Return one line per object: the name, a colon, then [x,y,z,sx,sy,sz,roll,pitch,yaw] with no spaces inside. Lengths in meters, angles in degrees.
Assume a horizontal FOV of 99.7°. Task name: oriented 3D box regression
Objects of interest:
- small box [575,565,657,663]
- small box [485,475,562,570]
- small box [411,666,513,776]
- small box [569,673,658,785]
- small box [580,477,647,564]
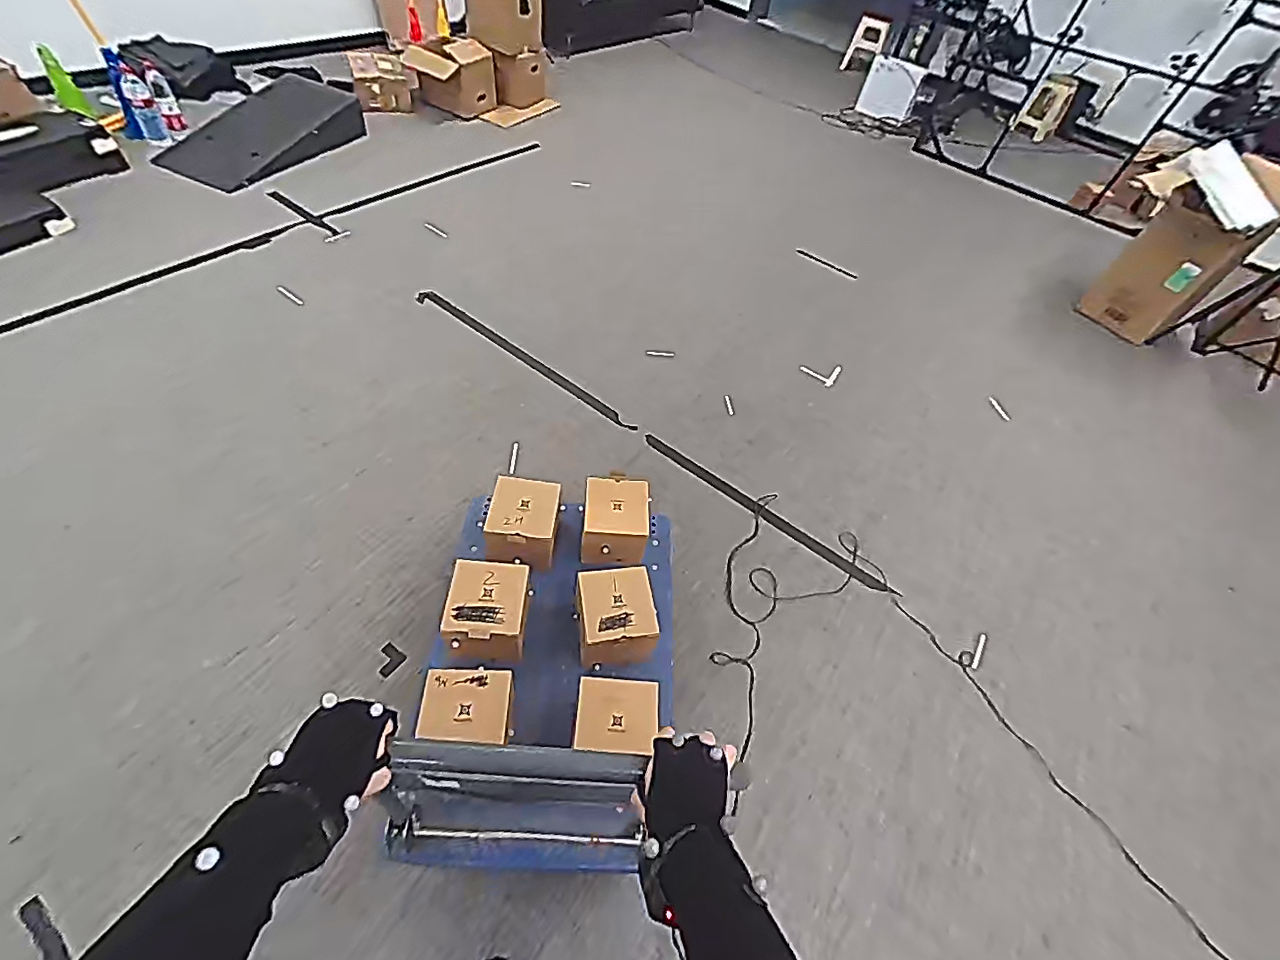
small box: [-0.064,0.327,1.302,0.168,0.176,0.179,-3,52,-13]
small box: [-0.303,0.113,1.422,0.168,0.176,0.179,8,52,-5]
small box: [-0.352,0.497,1.107,0.168,0.176,0.179,5,52,-9]
small box: [-0.058,0.530,1.142,0.168,0.176,0.179,8,50,-6]
small box: [-0.073,0.114,1.472,0.168,0.176,0.179,4,51,-8]
